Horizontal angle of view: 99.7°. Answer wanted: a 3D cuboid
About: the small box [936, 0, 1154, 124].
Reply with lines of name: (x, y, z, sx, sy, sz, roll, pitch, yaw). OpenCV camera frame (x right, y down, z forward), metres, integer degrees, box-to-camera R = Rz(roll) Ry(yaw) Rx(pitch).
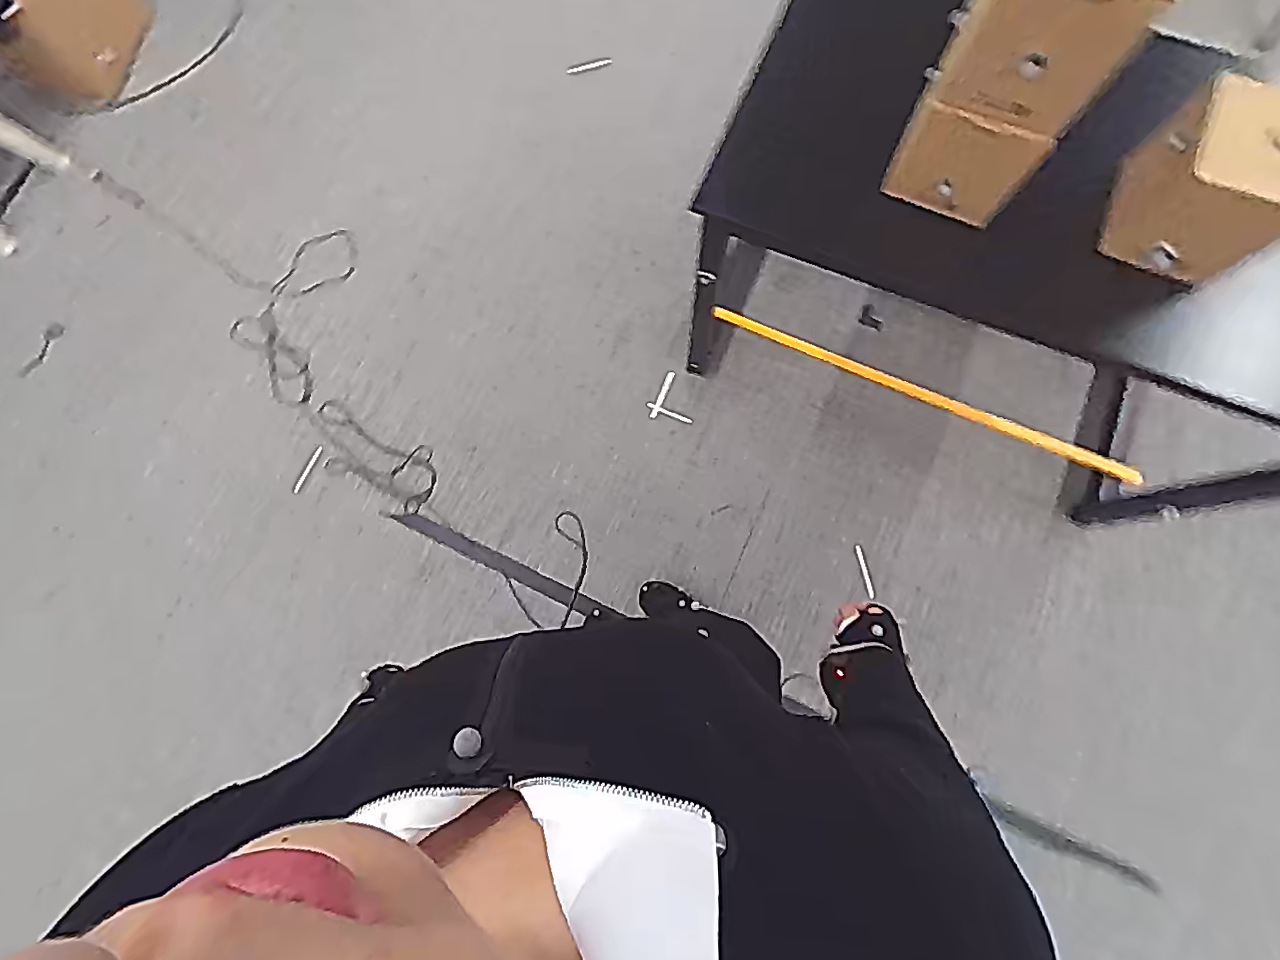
small box: (0.489, -0.578, 0.650, 0.168, 0.176, 0.179, 21, 81, 7)

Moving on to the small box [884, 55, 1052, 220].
small box: (0.495, -0.537, 0.809, 0.168, 0.176, 0.179, 24, 81, 8)

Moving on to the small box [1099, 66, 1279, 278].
small box: (0.814, -0.428, 0.774, 0.168, 0.176, 0.179, 21, 81, 8)
